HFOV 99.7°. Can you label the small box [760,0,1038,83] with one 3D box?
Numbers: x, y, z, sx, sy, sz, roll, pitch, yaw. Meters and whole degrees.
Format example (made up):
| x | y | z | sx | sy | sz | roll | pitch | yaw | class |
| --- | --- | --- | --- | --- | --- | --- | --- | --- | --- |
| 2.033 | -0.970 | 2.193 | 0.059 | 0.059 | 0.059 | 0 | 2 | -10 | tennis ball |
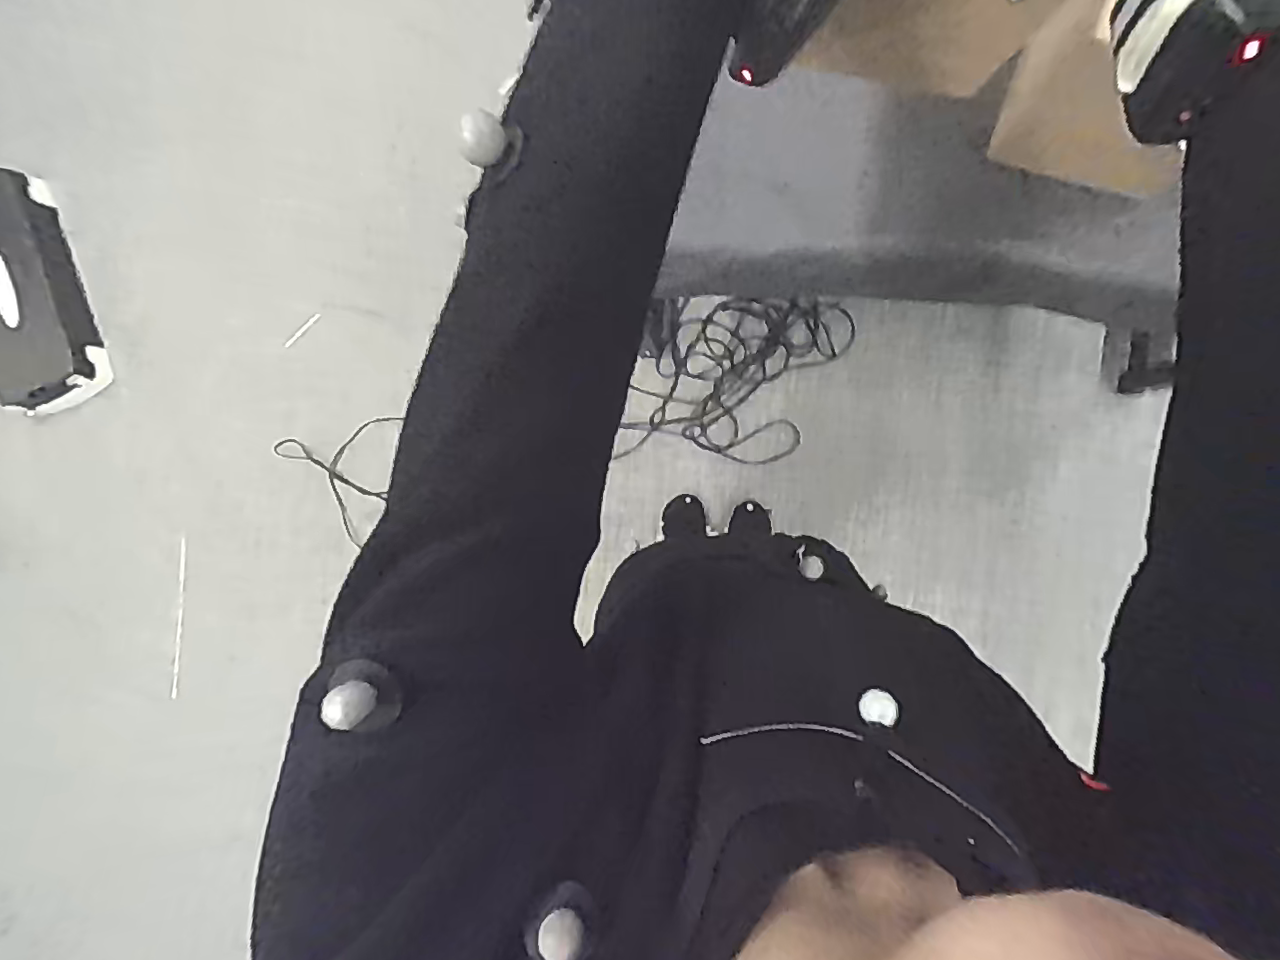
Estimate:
| x | y | z | sx | sy | sz | roll | pitch | yaw | class |
| --- | --- | --- | --- | --- | --- | --- | --- | --- | --- |
| 0.183 | -0.386 | 0.335 | 0.179 | 0.176 | 0.168 | 11 | 102 | 1 | small box |
